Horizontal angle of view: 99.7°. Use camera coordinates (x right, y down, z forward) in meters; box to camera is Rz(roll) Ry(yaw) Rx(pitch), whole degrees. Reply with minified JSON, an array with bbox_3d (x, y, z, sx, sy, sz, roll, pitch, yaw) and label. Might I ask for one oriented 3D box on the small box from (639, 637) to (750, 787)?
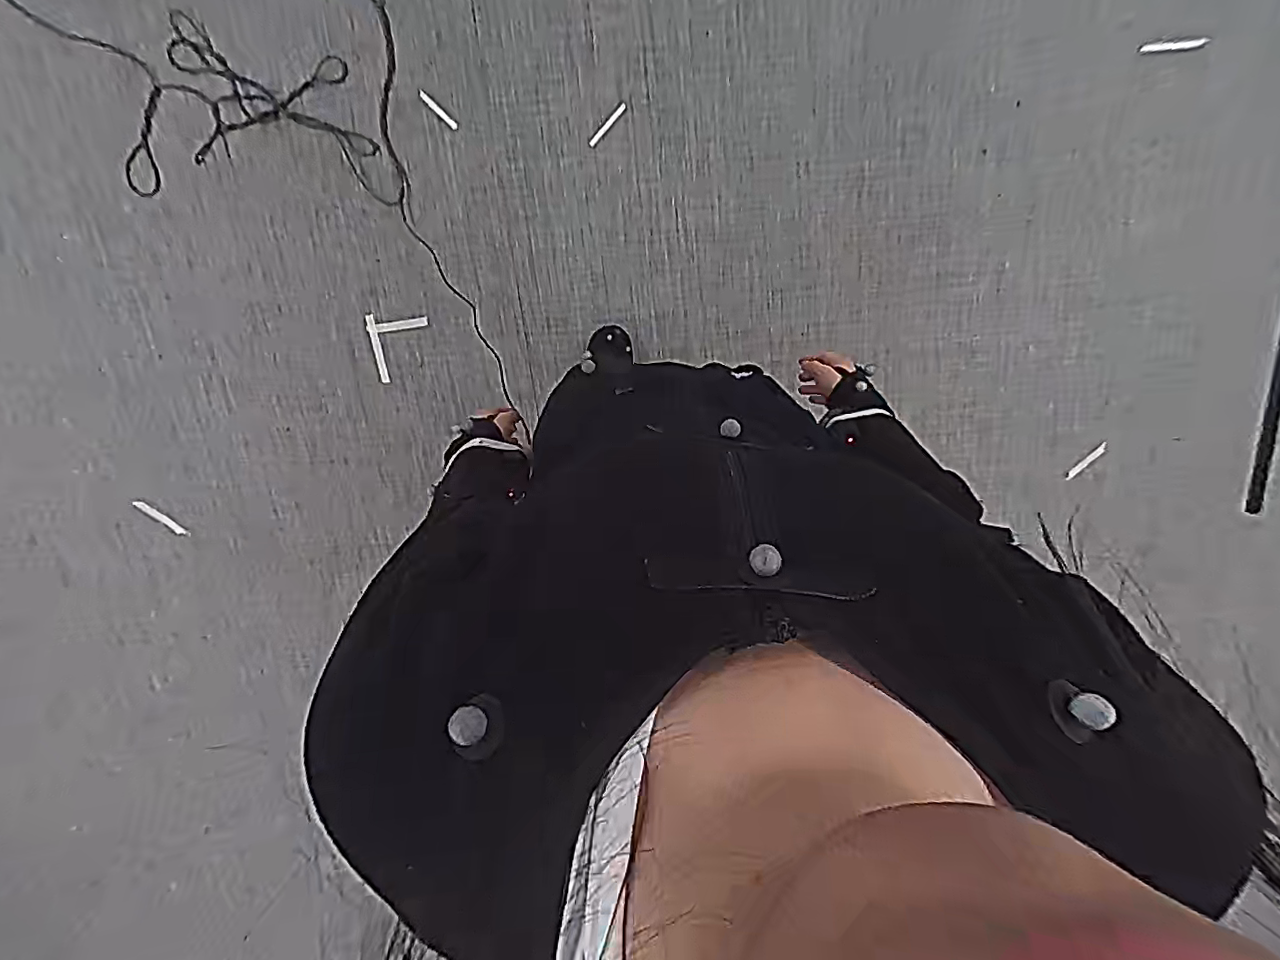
[{"bbox_3d":[0.084,0.381,0.917,0.168,0.176,0.179,-1,105,-1],"label":"small box"}]
